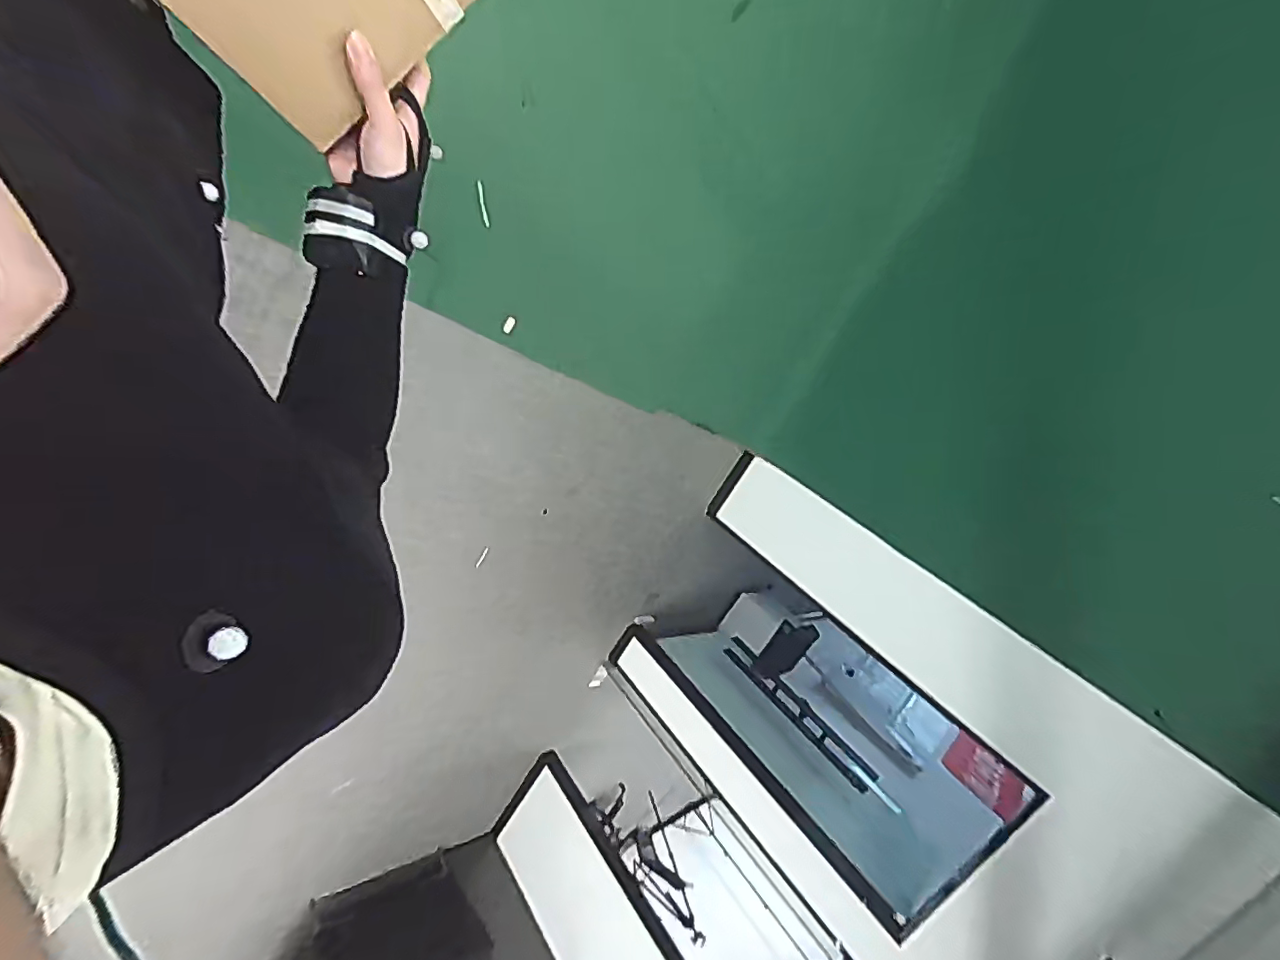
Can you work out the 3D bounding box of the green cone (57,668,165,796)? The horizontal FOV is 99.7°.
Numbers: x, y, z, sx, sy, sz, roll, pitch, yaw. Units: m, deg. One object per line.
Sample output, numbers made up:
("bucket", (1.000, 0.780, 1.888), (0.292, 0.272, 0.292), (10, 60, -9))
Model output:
("green cone", (-1.508, 0.746, 1.557), (0.202, 0.368, 0.200), (-56, 144, 7))
